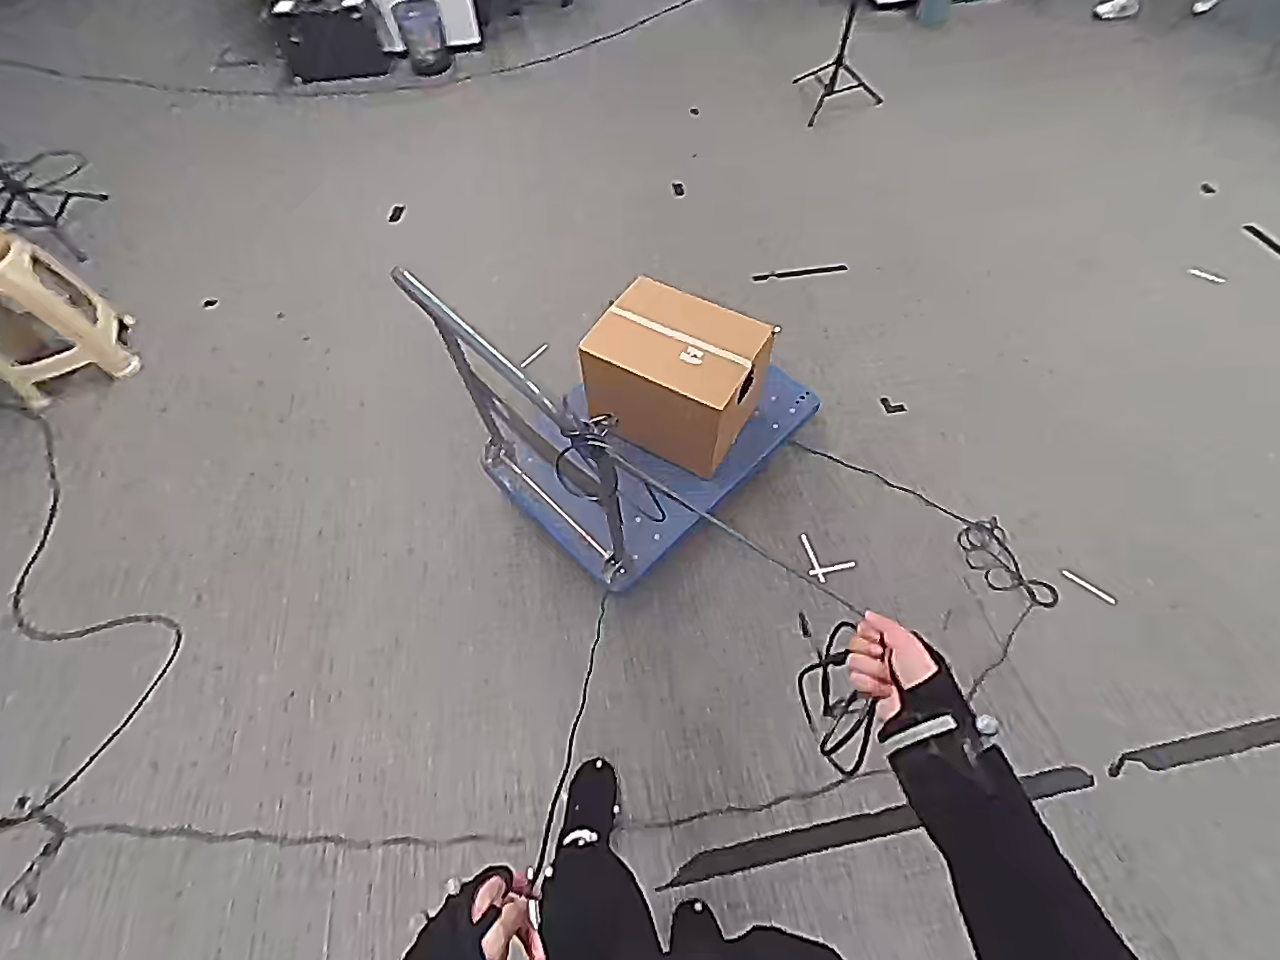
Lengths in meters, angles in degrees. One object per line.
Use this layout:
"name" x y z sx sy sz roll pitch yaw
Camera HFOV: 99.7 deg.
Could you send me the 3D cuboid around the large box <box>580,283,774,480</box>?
"large box" 0.091 -0.266 1.477 0.408 0.320 0.320 27 63 15
